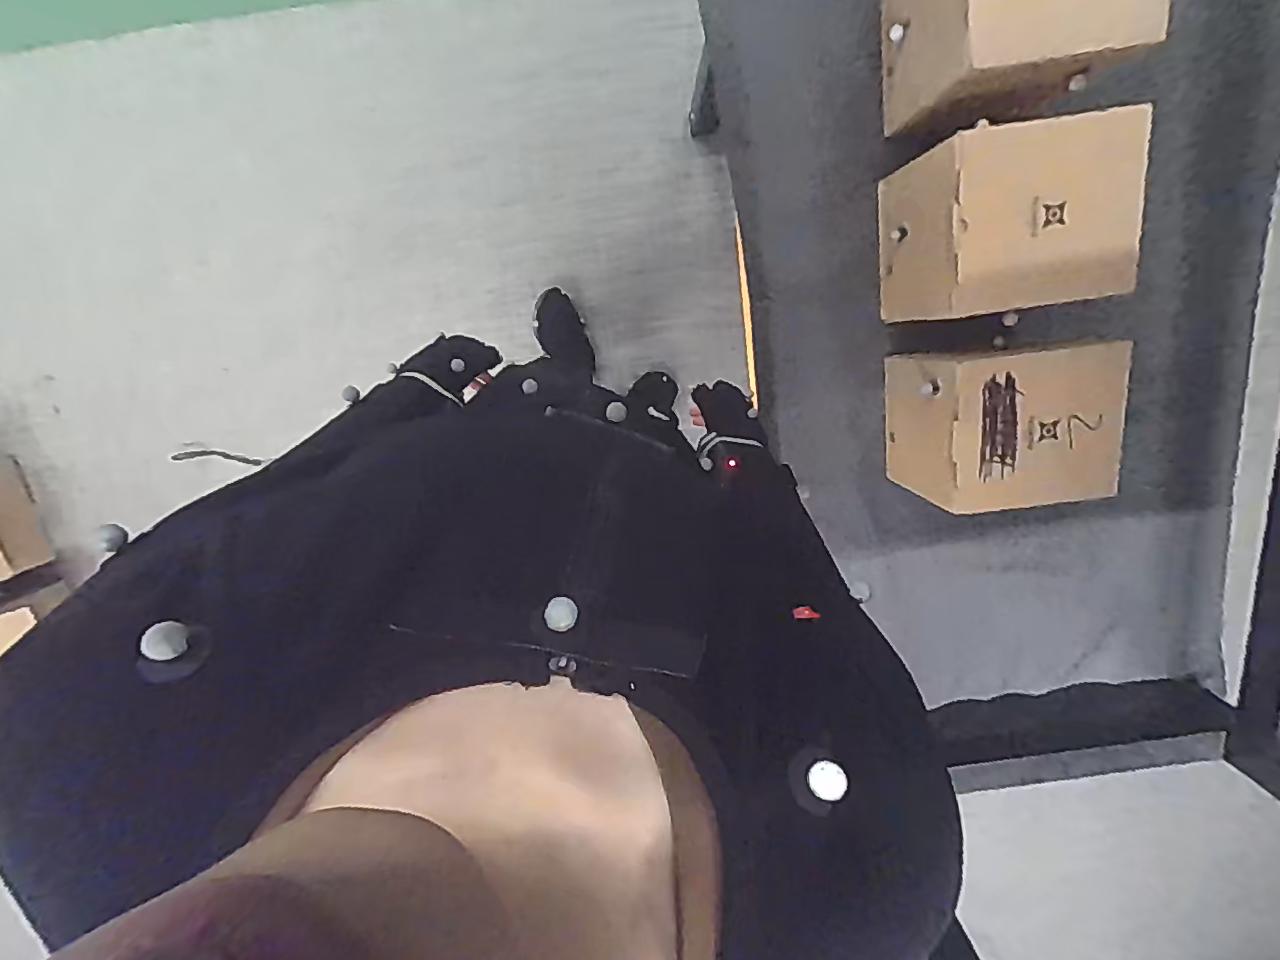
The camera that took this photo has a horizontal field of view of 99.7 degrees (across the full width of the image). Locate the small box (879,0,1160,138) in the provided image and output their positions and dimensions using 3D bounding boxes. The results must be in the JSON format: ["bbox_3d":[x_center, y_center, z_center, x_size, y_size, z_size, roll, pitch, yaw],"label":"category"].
[{"bbox_3d":[0.361,-0.468,0.538,0.179,0.176,0.168,-8,105,1],"label":"small box"}]

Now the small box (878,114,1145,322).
[{"bbox_3d":[0.385,-0.269,0.594,0.179,0.176,0.168,-8,105,2],"label":"small box"}]
